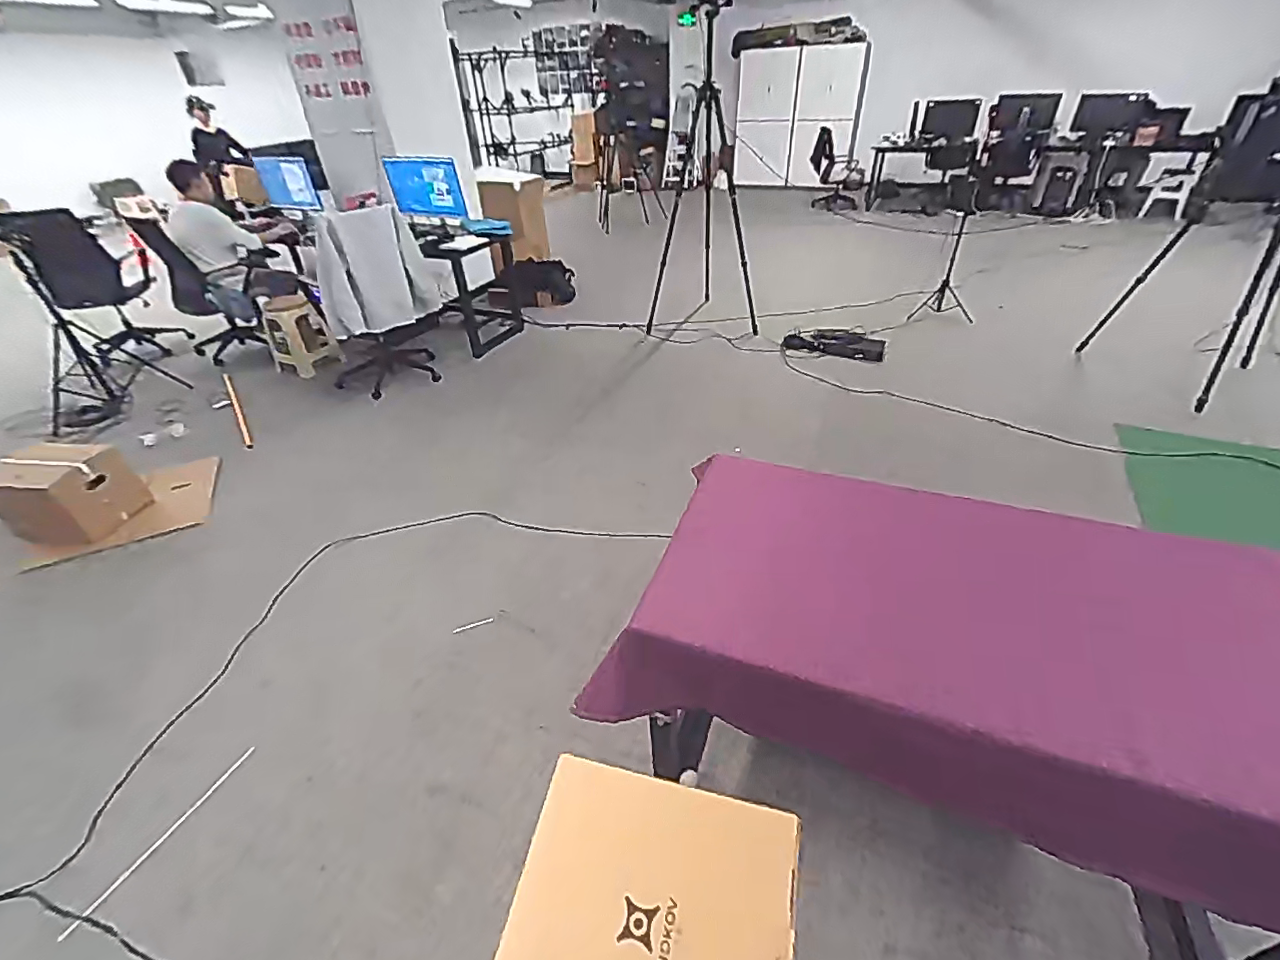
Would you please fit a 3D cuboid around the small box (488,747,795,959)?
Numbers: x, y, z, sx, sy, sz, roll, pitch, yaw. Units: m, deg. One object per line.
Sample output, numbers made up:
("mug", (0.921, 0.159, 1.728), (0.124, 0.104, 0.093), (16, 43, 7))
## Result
("small box", (0.010, 0.324, 0.397), (0.179, 0.176, 0.168), (7, 50, 14))
